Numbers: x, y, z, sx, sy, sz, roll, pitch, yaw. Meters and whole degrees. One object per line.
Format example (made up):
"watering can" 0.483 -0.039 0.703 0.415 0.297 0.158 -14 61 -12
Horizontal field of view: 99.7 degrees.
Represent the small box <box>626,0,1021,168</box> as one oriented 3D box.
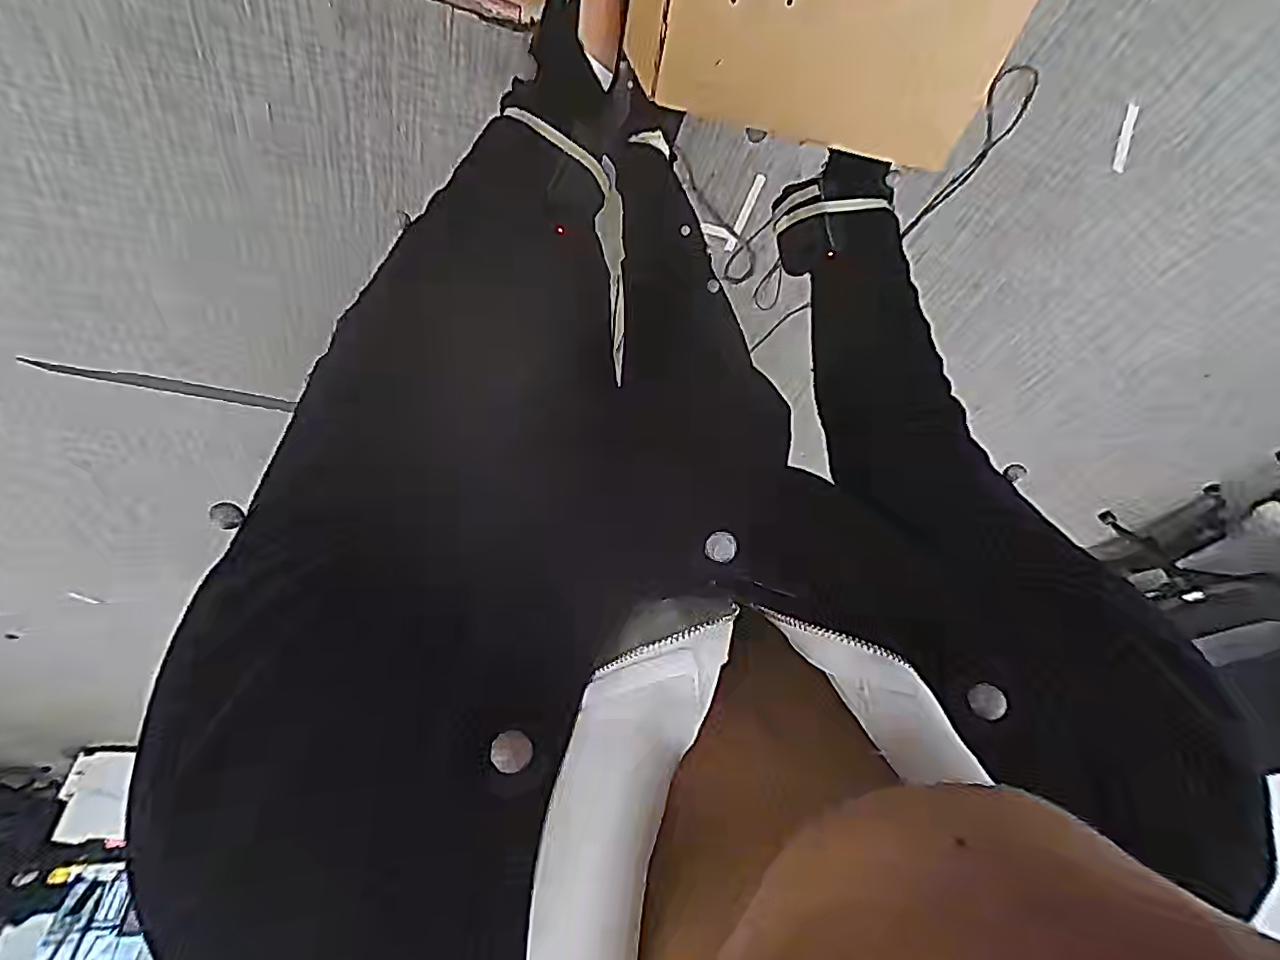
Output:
"small box" 0.095 -0.303 0.297 0.179 0.176 0.168 4 136 -14
